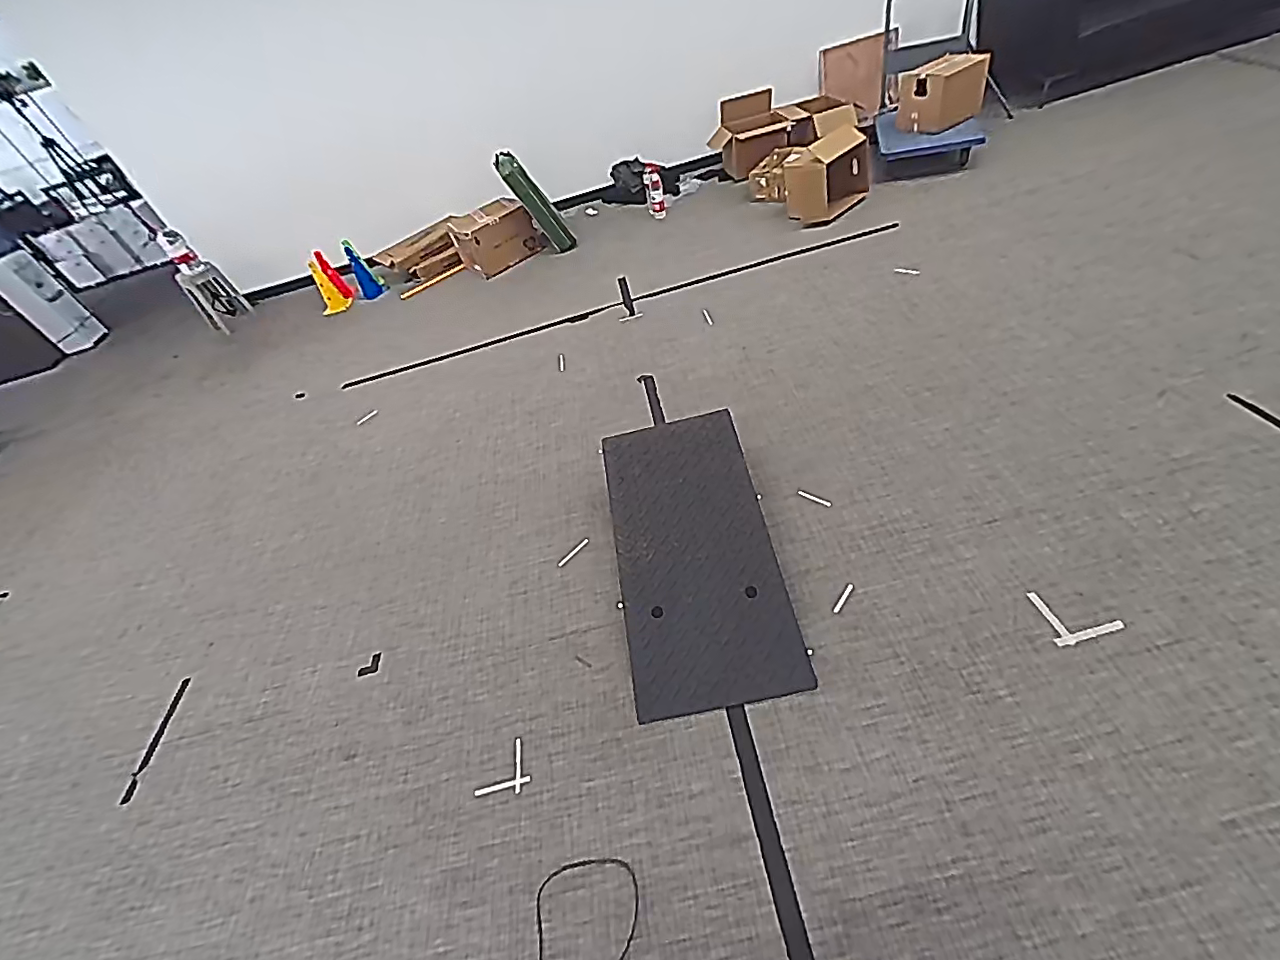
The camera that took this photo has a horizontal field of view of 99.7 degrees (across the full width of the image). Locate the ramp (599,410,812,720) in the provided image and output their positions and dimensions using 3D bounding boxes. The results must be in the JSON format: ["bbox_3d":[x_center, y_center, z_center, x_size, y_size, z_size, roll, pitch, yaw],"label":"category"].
[{"bbox_3d":[0.156,0.199,1.733,0.509,0.206,0.991,-14,45,3],"label":"ramp"}]
